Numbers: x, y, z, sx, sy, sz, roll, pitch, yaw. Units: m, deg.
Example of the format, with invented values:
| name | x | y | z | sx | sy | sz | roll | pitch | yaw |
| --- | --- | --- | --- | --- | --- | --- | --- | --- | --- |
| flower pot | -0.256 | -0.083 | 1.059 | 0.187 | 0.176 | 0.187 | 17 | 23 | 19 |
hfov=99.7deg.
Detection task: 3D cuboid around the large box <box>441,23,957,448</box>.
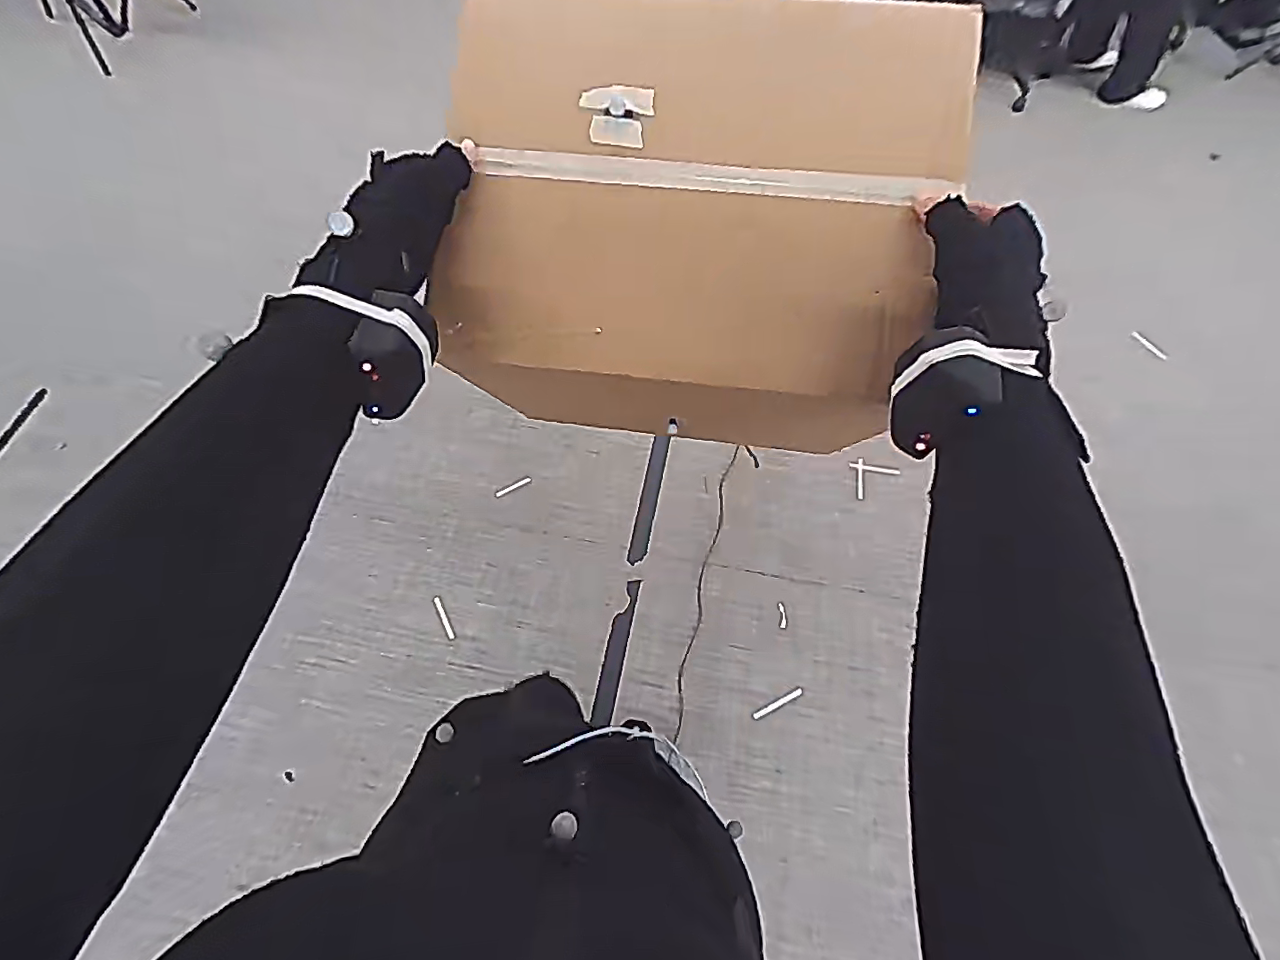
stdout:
| name | x | y | z | sx | sy | sz | roll | pitch | yaw |
| --- | --- | --- | --- | --- | --- | --- | --- | --- | --- |
| large box | 0.058 | -0.216 | 0.591 | 0.408 | 0.320 | 0.320 | 7 | 86 | 5 |
